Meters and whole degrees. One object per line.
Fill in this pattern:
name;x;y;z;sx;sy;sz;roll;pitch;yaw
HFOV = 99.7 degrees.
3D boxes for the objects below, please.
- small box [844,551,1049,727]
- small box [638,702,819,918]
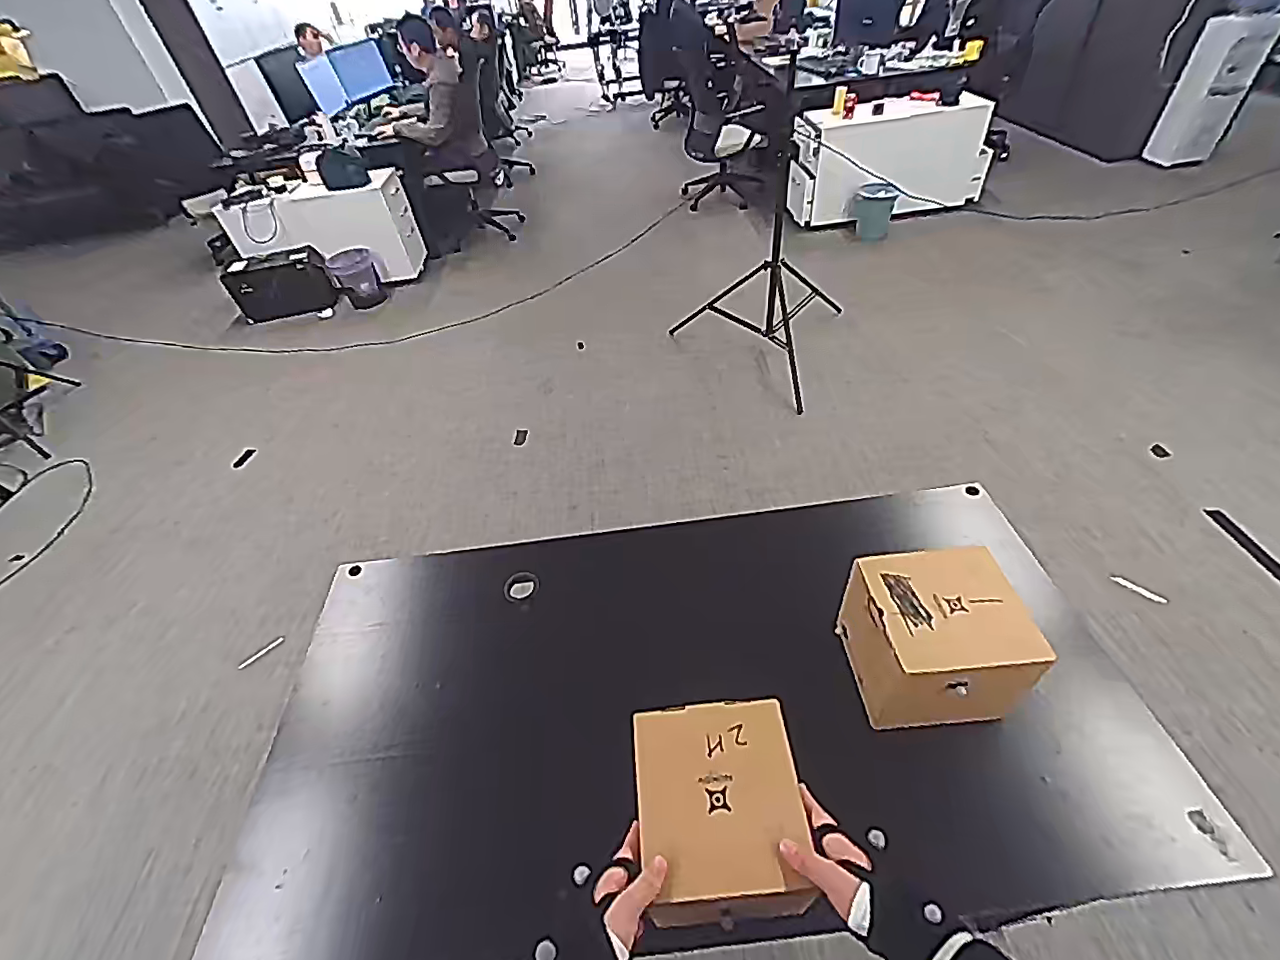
small box;0.388;0.217;0.730;0.179;0.176;0.168;-6;45;2
small box;0.090;0.378;0.614;0.168;0.176;0.179;-6;45;1
